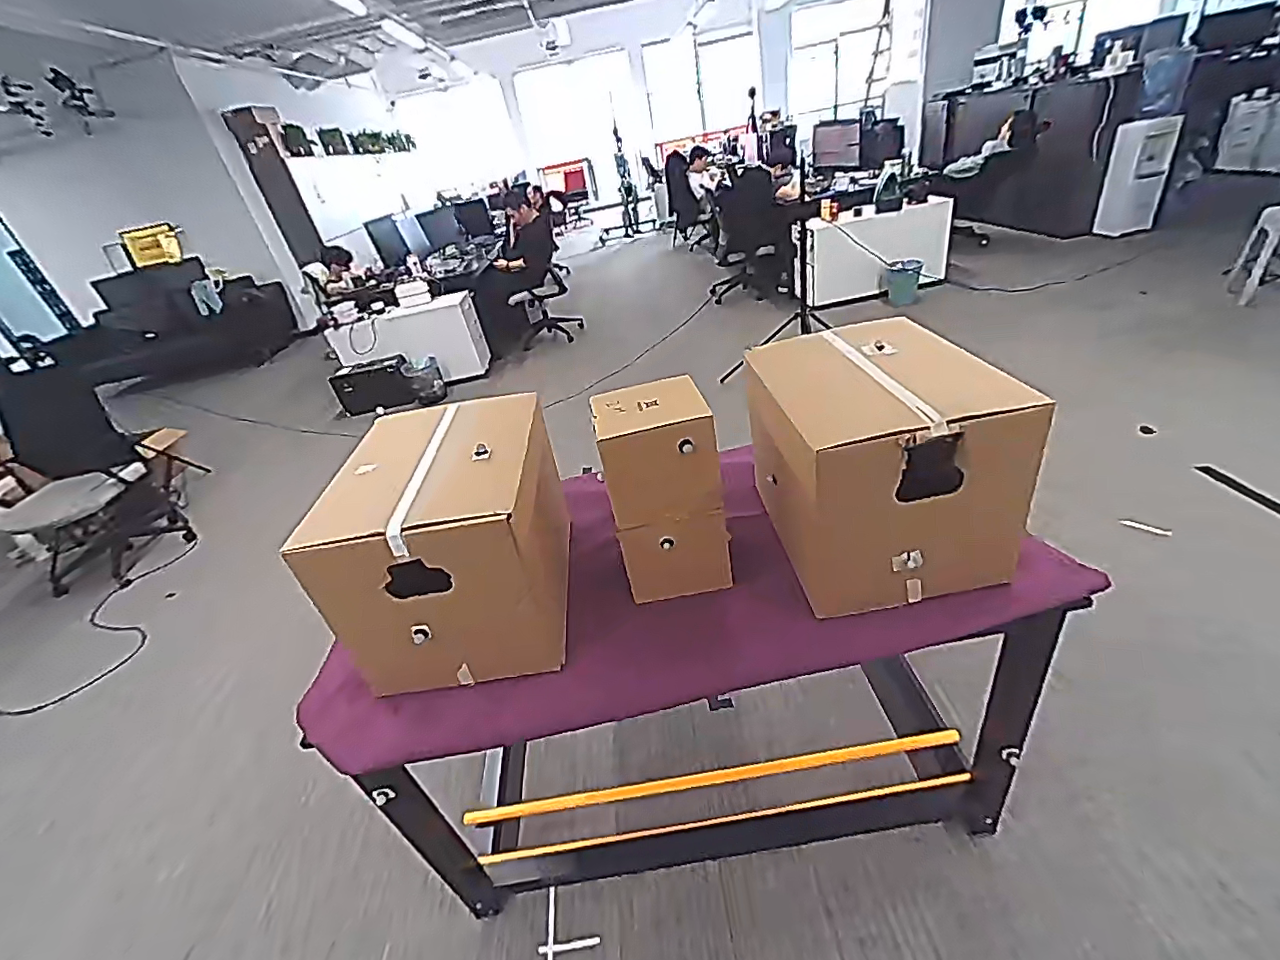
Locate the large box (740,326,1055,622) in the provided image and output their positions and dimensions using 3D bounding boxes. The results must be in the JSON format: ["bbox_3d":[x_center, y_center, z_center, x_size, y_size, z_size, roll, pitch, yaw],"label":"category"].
[{"bbox_3d":[0.383,-0.032,0.918,0.320,0.320,0.408,-11,31,1],"label":"large box"}]

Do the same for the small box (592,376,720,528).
[{"bbox_3d":[0.027,-0.046,0.875,0.179,0.176,0.168,-13,31,-1],"label":"small box"}]
